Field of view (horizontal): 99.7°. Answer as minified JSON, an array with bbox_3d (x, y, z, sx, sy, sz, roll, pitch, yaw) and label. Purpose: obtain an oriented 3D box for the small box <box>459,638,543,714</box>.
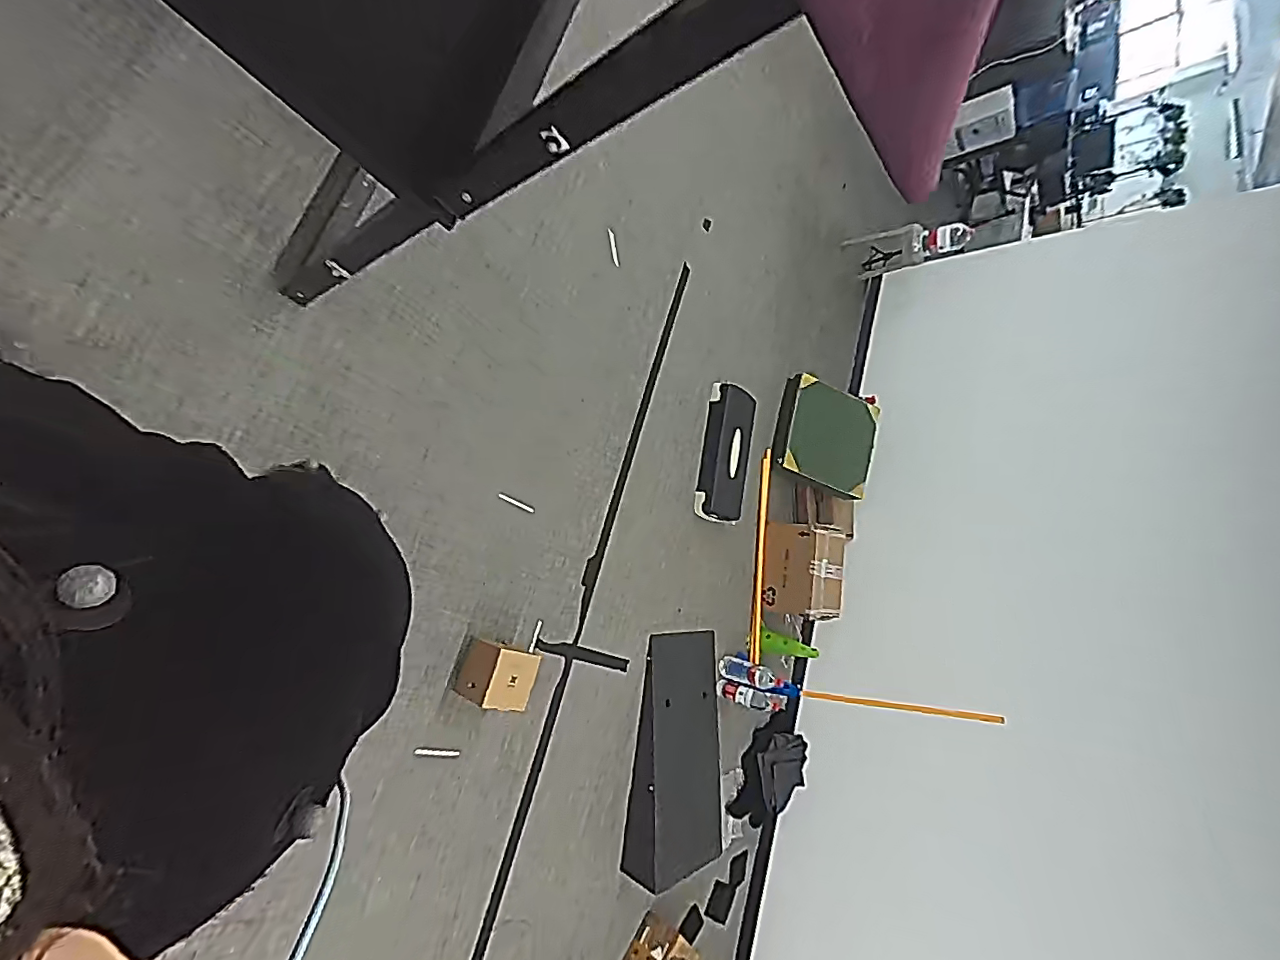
[{"bbox_3d":[-0.438,0.612,1.693,0.168,0.176,0.179,31,69,-44],"label":"small box"}]
